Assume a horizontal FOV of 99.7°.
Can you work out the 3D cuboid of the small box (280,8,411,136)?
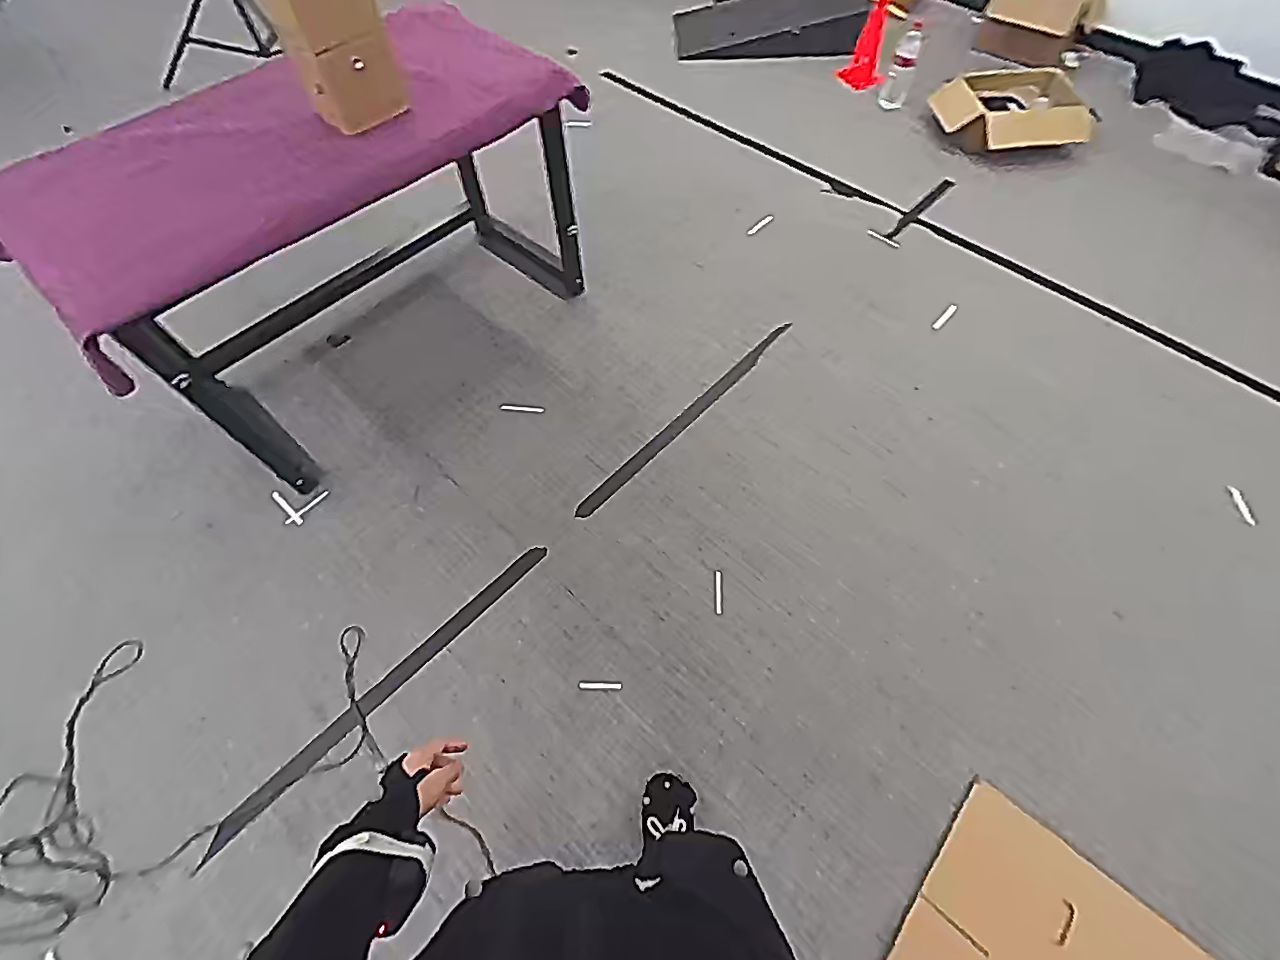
[{"bbox_3d":[-0.666,-0.932,1.243,0.168,0.176,0.179,41,68,20],"label":"small box"}]
